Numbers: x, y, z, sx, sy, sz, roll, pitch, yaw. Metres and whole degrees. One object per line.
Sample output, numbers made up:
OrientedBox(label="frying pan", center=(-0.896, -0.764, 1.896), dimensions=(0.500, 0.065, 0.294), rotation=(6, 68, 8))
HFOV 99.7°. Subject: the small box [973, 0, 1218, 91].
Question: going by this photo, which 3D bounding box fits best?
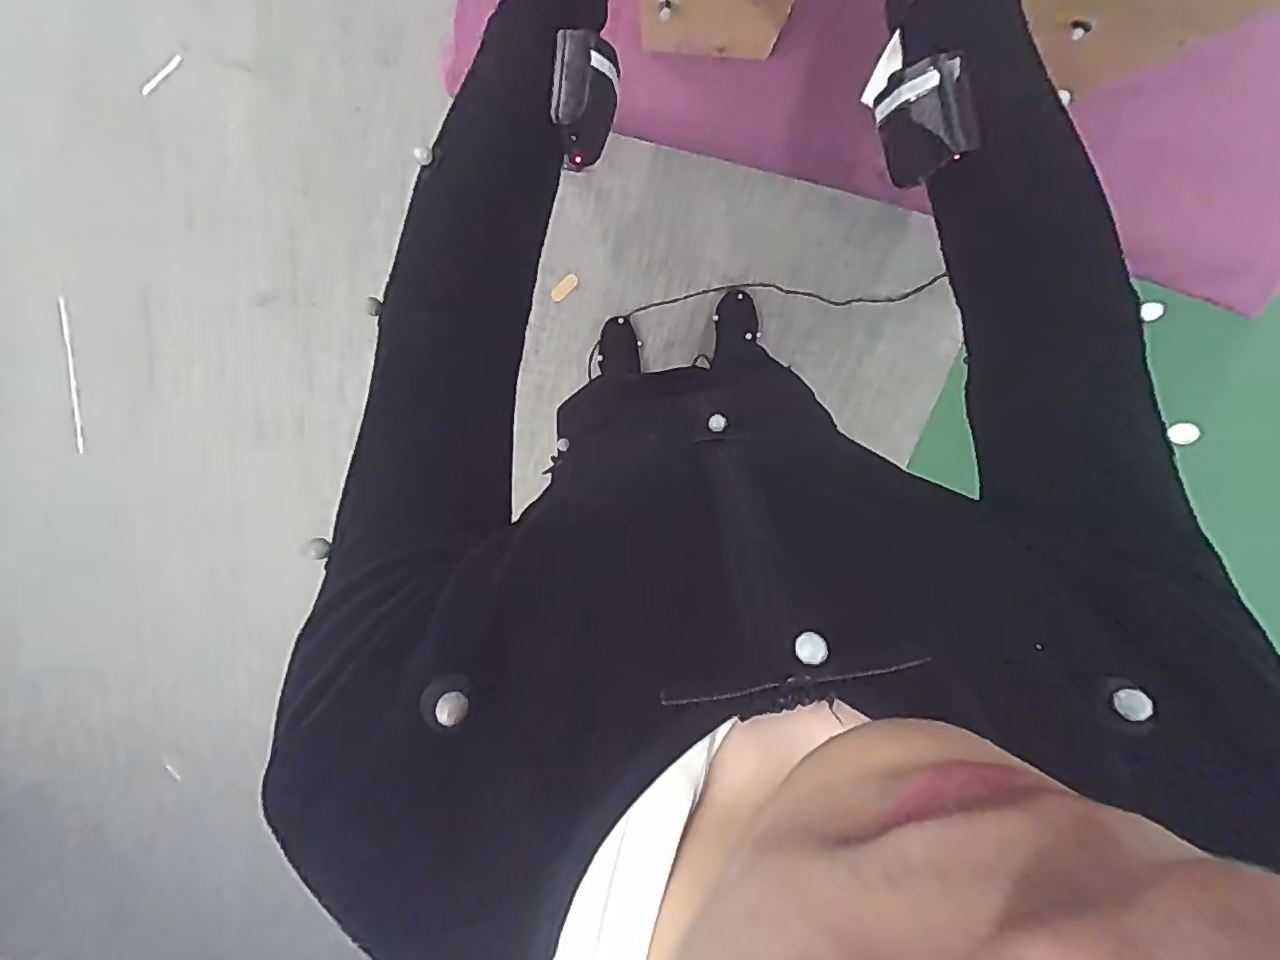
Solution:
OrientedBox(label="small box", center=(0.529, -0.583, 0.612), dimensions=(0.179, 0.176, 0.168), rotation=(19, 109, -6))
